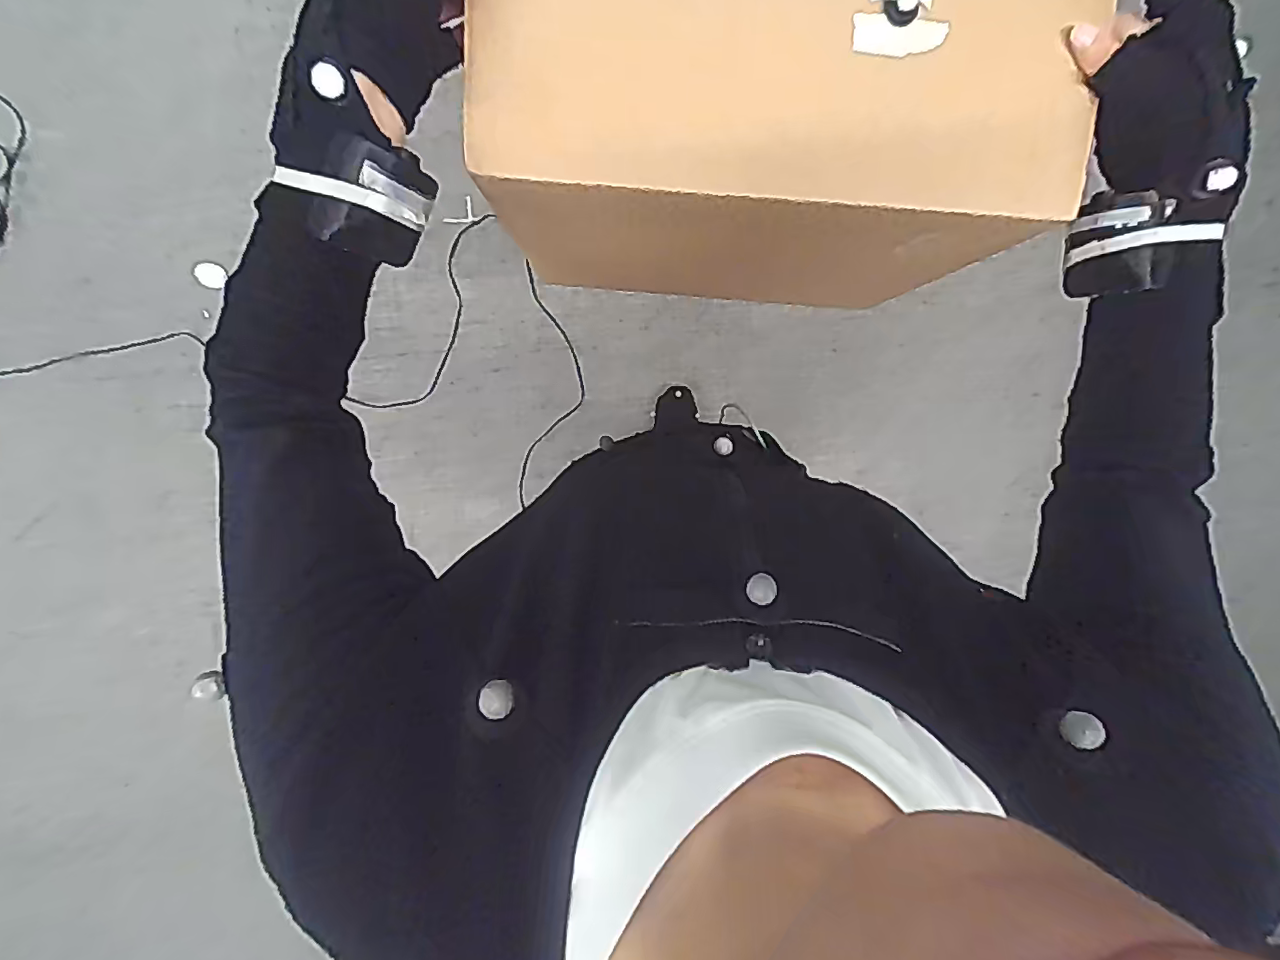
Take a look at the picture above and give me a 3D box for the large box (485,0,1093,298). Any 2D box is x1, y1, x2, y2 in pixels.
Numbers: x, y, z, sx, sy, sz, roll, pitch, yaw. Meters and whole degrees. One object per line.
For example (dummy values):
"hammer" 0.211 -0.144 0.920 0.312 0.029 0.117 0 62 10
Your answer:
"large box" 0.096 -0.364 0.496 0.408 0.320 0.320 3 98 -1
